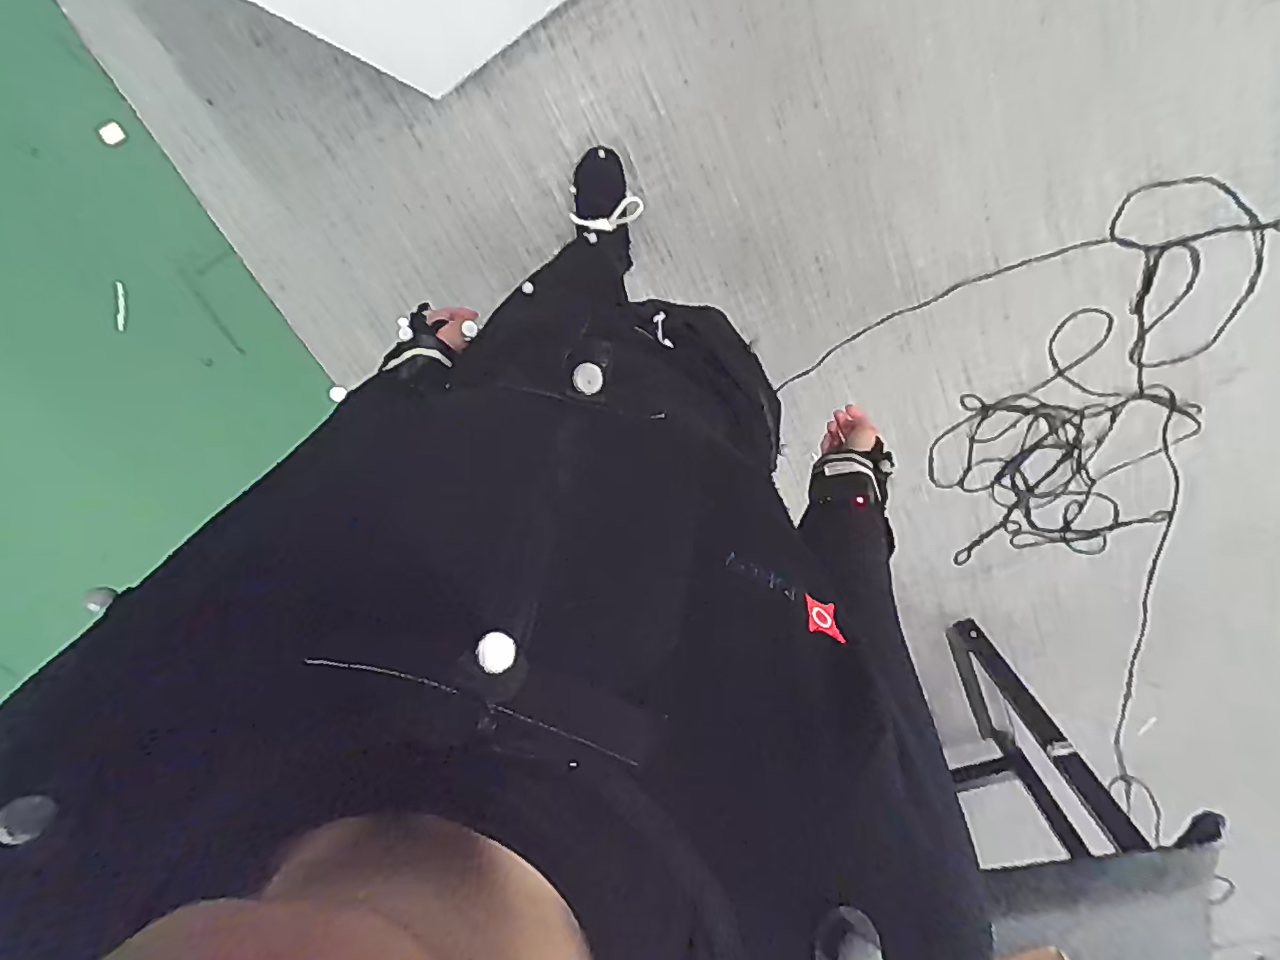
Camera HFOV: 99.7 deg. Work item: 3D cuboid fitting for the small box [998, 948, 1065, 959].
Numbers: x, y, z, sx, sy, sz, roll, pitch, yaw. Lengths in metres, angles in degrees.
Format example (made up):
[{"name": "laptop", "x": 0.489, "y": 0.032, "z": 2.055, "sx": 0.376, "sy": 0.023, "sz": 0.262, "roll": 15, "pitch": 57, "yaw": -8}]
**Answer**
[{"name": "small box", "x": 0.785, "y": 1.040, "z": 1.027, "sx": 0.168, "sy": 0.176, "sz": 0.179, "roll": -34, "pitch": 110, "yaw": 17}]
